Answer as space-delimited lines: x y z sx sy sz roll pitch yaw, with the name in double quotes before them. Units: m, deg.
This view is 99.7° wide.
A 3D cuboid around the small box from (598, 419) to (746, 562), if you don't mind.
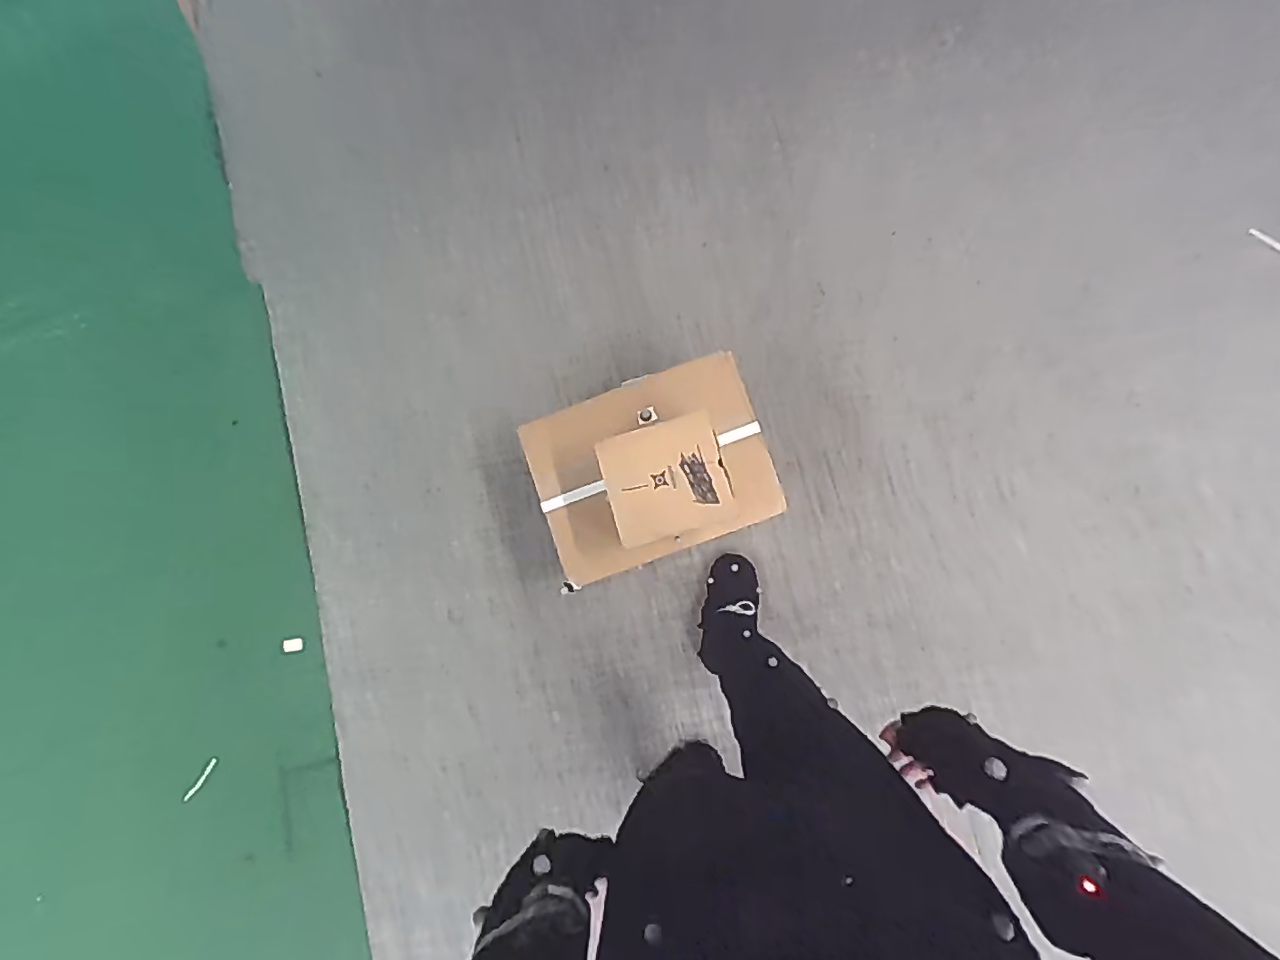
"small box" 0.047 0.019 0.851 0.179 0.176 0.168 -19 85 1
